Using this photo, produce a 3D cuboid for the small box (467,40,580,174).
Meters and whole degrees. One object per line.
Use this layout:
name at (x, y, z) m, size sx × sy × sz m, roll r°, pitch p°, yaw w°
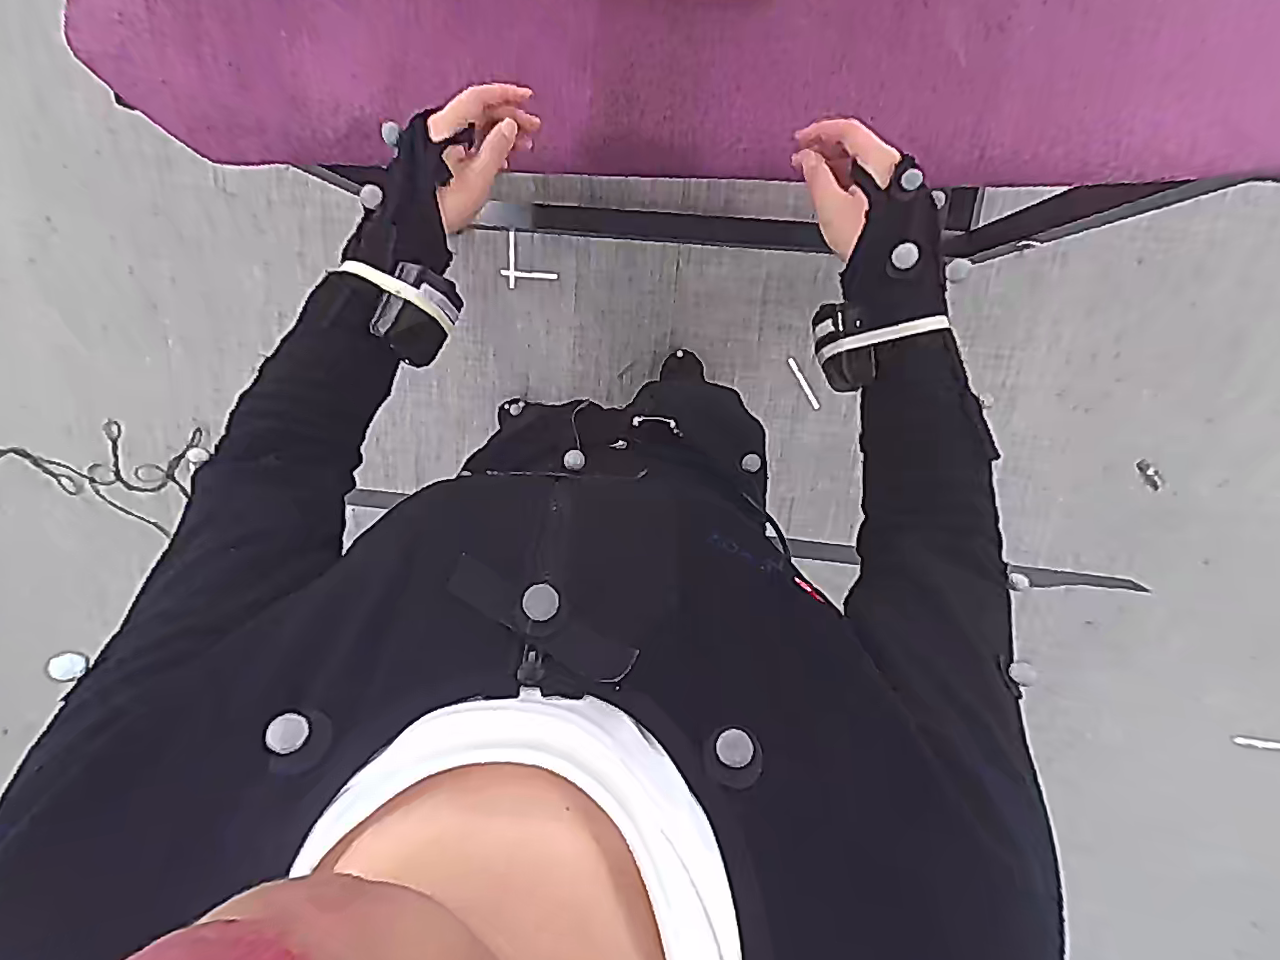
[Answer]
small box at (-0.212, -0.692, 1.022) m, size 0.179 × 0.176 × 0.168 m, roll 4°, pitch 106°, yaw 3°
